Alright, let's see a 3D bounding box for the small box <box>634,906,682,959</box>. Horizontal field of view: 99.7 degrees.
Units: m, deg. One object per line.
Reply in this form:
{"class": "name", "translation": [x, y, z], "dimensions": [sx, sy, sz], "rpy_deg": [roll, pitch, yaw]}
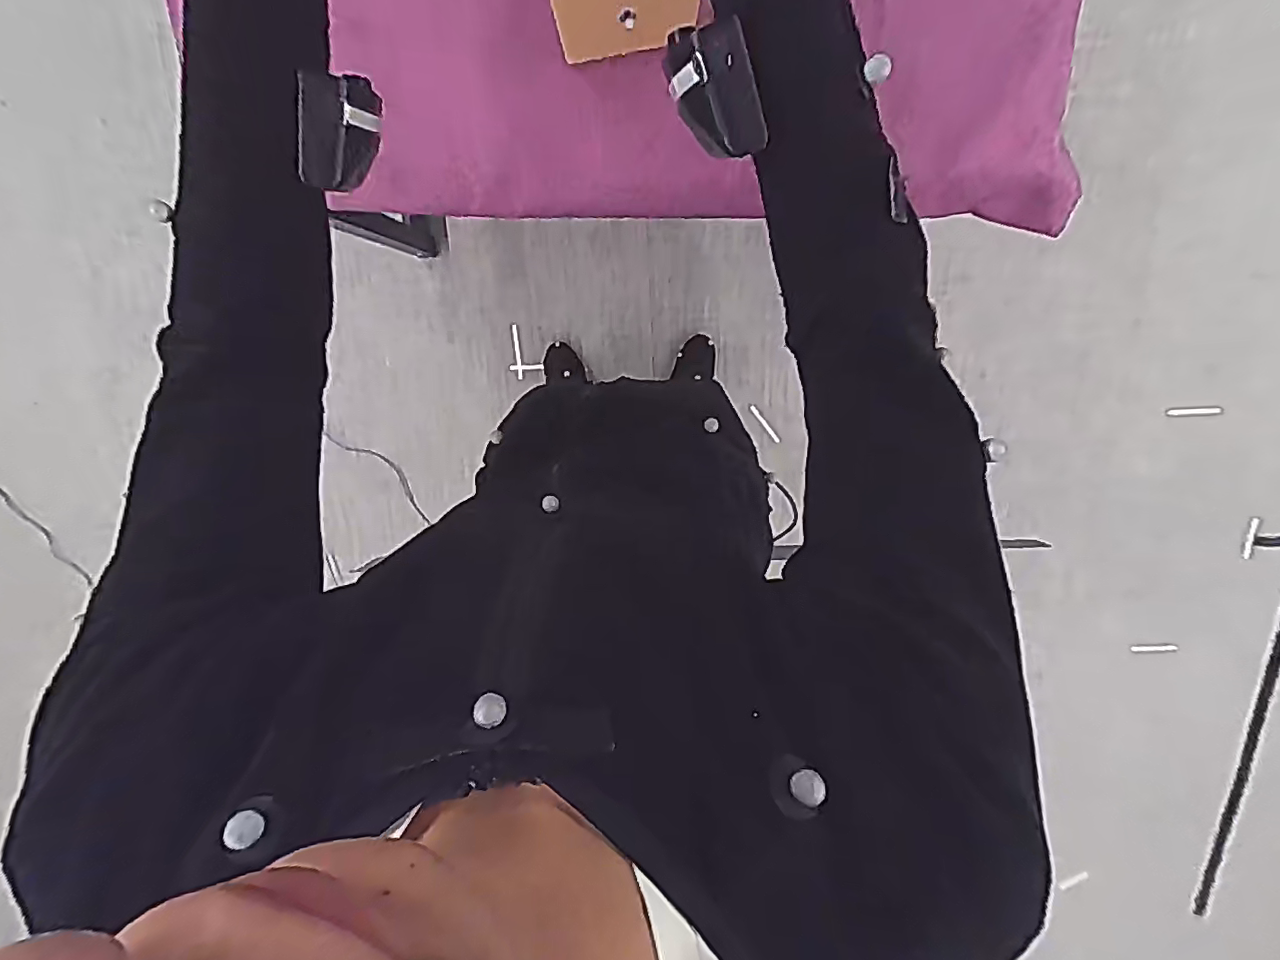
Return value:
{"class": "small box", "translation": [0.066, 1.772, 2.068], "dimensions": [0.179, 0.176, 0.168], "rpy_deg": [-1, 105, 0]}
